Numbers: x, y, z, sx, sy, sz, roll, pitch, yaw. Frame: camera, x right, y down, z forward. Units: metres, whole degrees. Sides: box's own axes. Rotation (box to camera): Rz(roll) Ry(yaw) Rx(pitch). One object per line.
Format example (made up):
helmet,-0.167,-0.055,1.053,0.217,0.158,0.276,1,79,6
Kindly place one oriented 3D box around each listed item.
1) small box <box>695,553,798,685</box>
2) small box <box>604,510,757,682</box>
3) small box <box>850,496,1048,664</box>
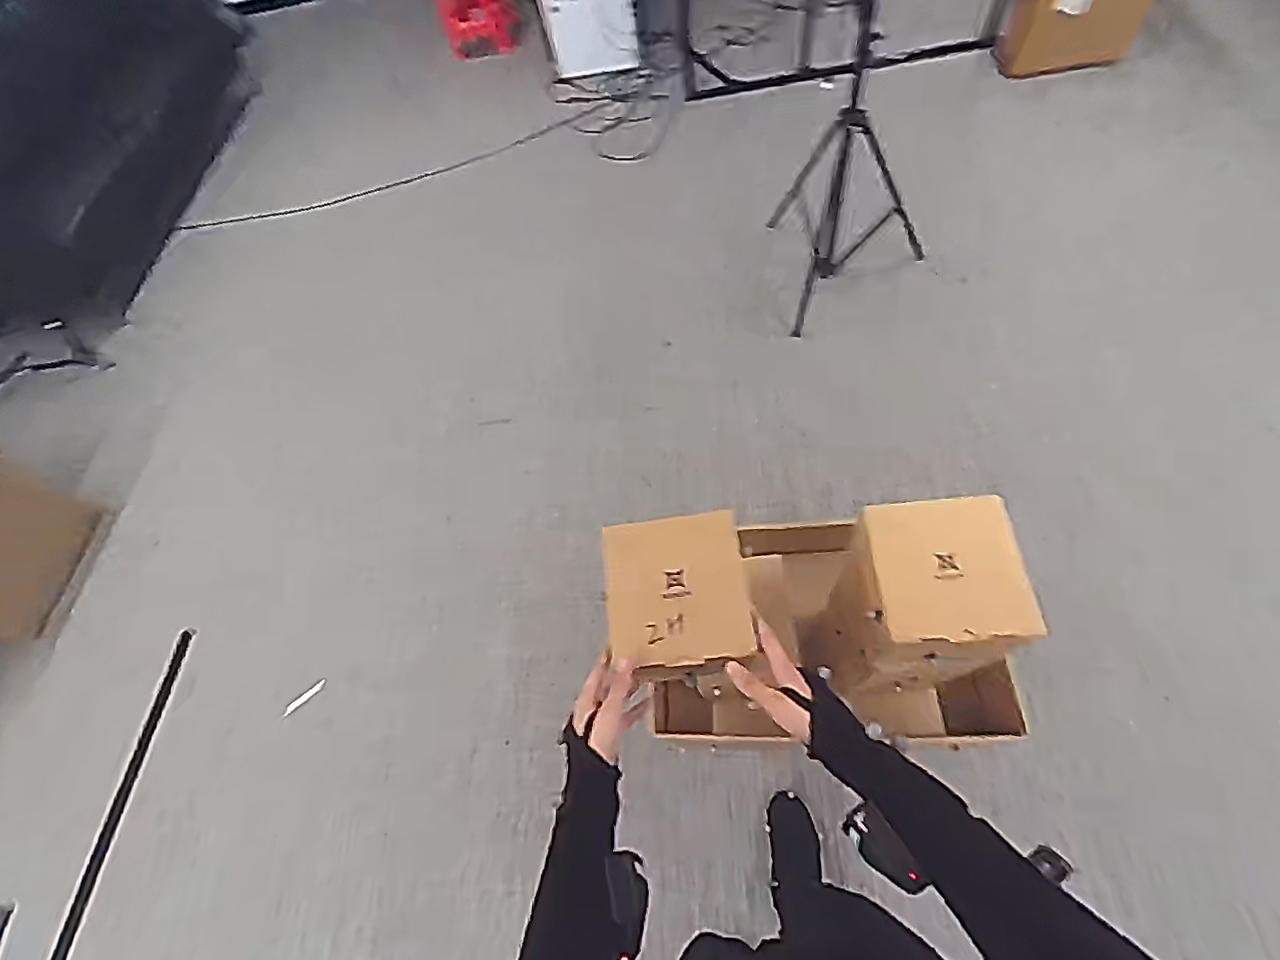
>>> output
small box,0.165,0.239,0.903,0.168,0.176,0.179,-7,60,8
small box,0.051,0.157,0.704,0.168,0.176,0.179,-9,65,5
small box,0.387,0.139,0.718,0.168,0.176,0.179,-6,63,10
